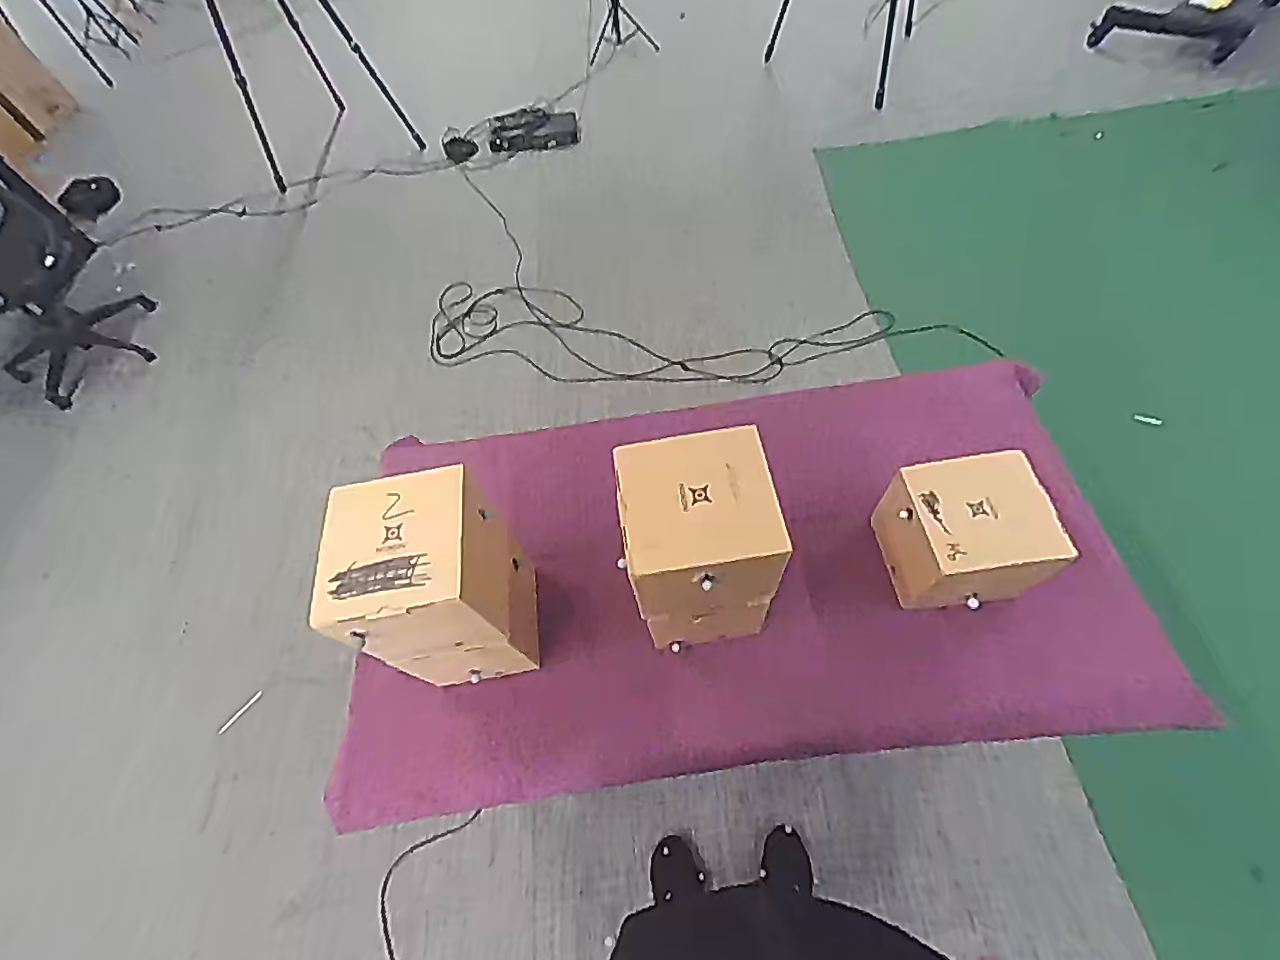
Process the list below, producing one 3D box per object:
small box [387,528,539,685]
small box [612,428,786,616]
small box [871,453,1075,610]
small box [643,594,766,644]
[{"bbox_3d":[-0.256,0.196,0.822,0.168,0.176,0.179,-10,59,1],"label":"small box"},{"bbox_3d":[0.069,0.060,0.673,0.179,0.176,0.168,-9,60,1],"label":"small box"},{"bbox_3d":[0.472,0.082,0.800,0.179,0.176,0.168,-8,59,2],"label":"small box"},{"bbox_3d":[0.086,0.139,0.815,0.168,0.176,0.179,-9,58,1],"label":"small box"}]
